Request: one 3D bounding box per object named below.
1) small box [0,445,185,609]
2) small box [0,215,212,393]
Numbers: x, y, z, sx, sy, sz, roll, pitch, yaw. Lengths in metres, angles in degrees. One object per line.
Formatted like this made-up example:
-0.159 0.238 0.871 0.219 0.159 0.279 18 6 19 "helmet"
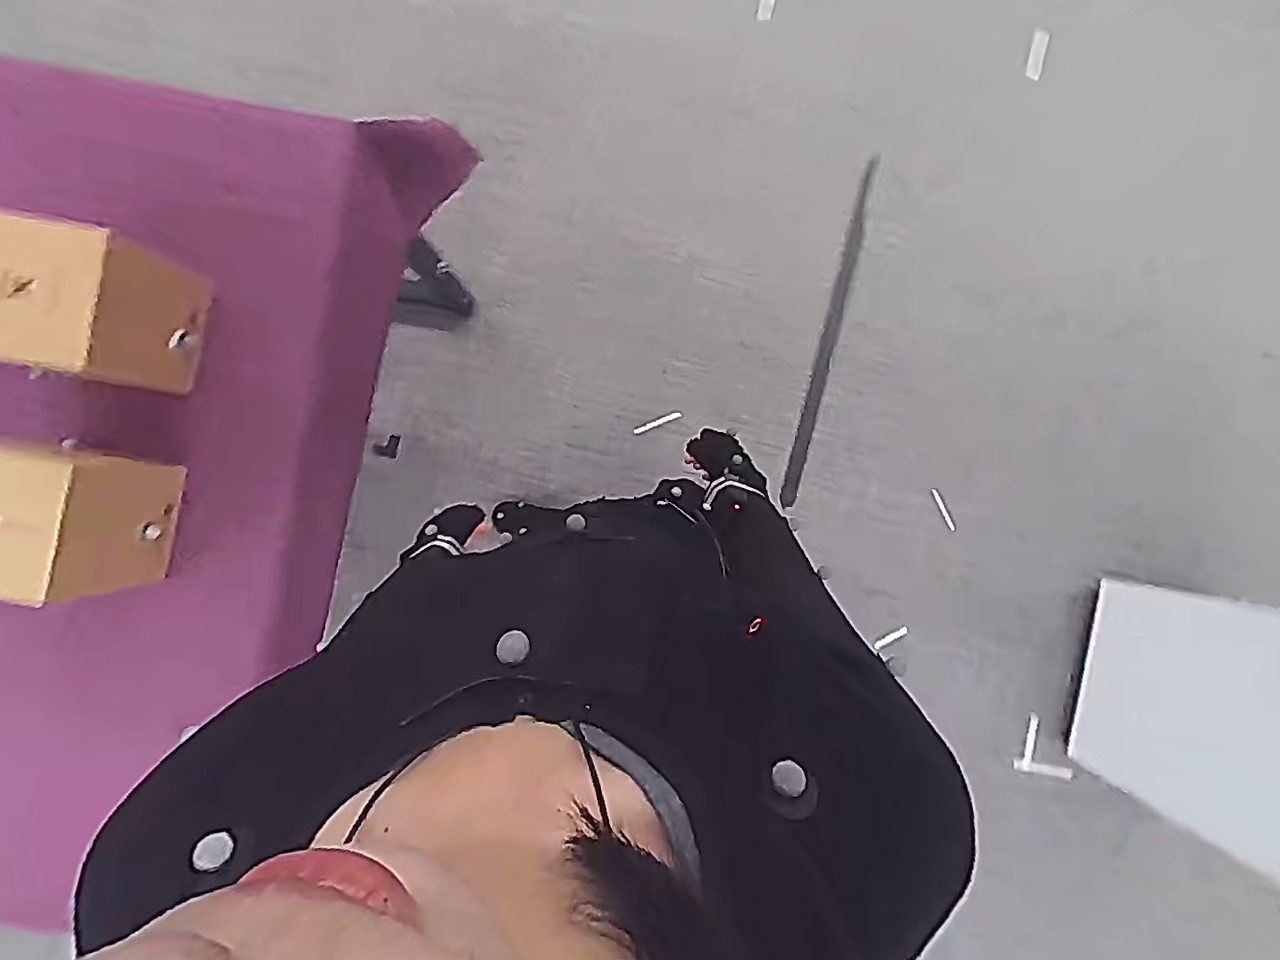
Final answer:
-0.741 0.051 0.682 0.179 0.176 0.168 10 89 -2 "small box"
-0.708 -0.213 0.691 0.179 0.176 0.168 9 90 -3 "small box"
